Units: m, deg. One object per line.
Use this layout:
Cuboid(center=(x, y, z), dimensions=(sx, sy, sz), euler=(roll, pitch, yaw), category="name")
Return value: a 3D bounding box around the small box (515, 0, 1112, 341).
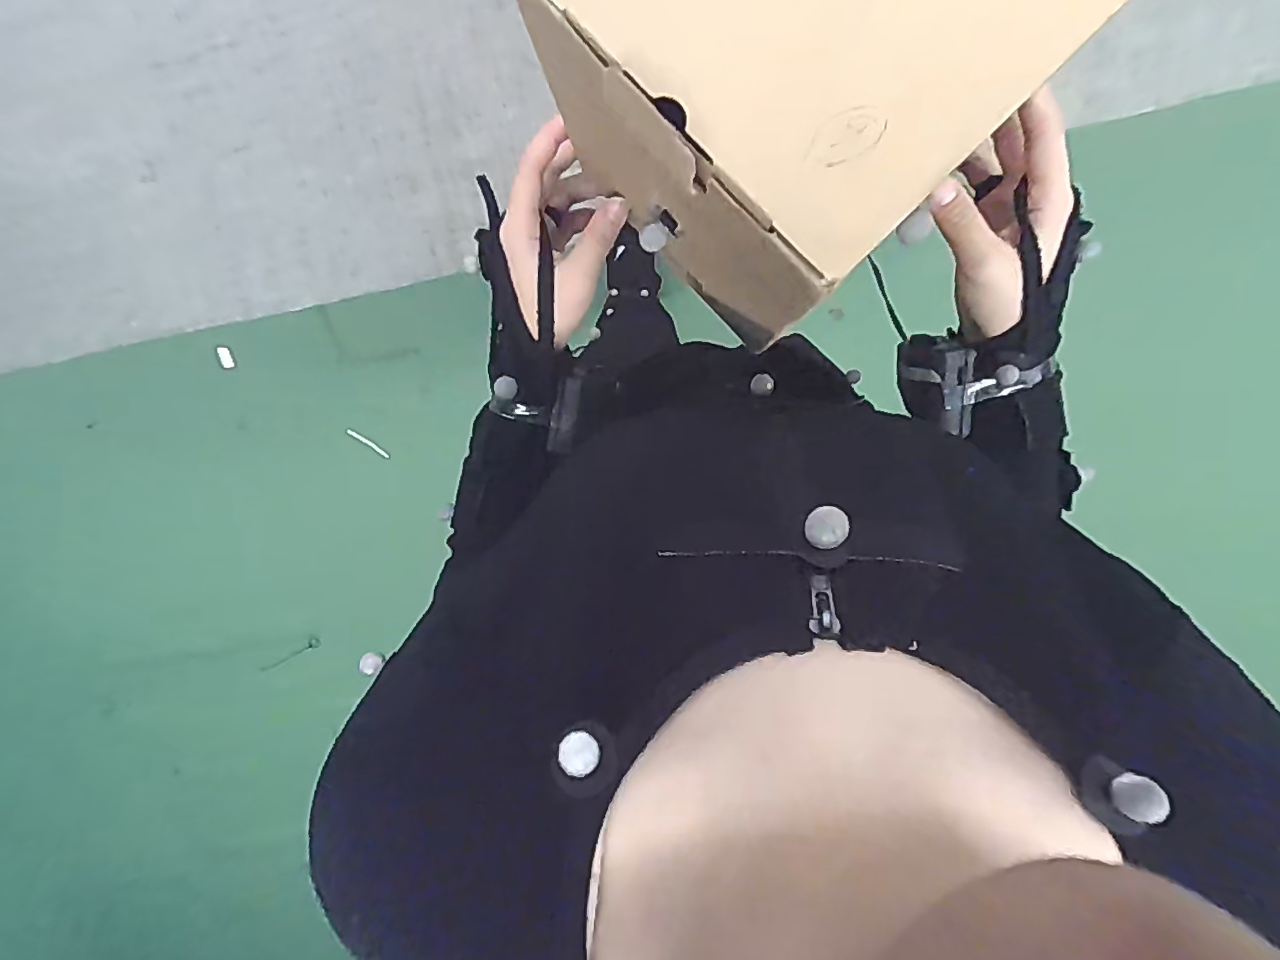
Cuboid(center=(0.075, -0.193, 0.271), dimensions=(0.179, 0.176, 0.168), euler=(-45, 91, 7), category="small box")
